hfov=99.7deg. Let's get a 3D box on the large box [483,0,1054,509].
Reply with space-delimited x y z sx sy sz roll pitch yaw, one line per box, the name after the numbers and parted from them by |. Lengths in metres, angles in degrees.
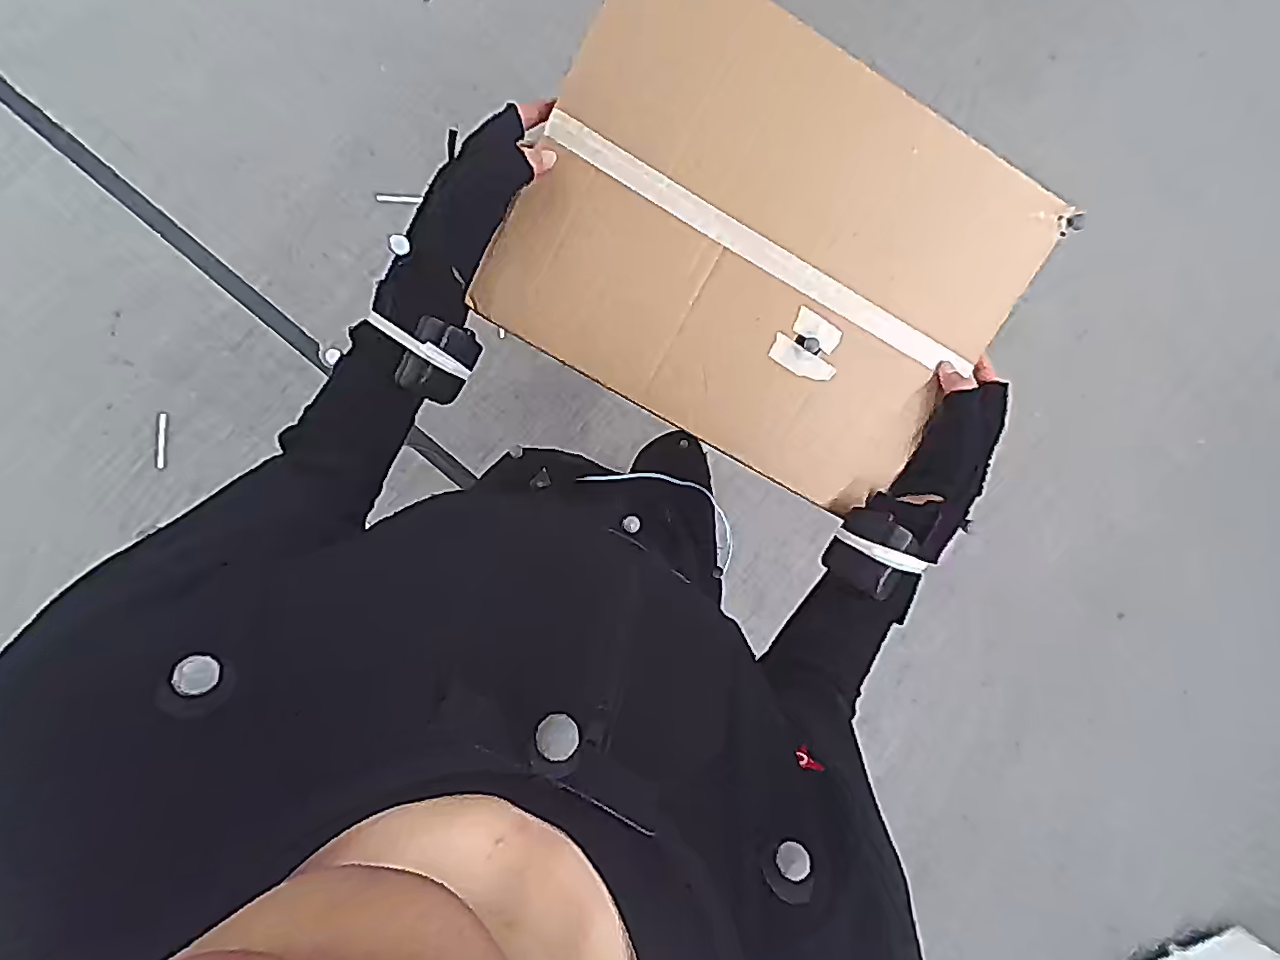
0.102 -0.221 0.603 0.408 0.320 0.320 29 100 -7 | large box
